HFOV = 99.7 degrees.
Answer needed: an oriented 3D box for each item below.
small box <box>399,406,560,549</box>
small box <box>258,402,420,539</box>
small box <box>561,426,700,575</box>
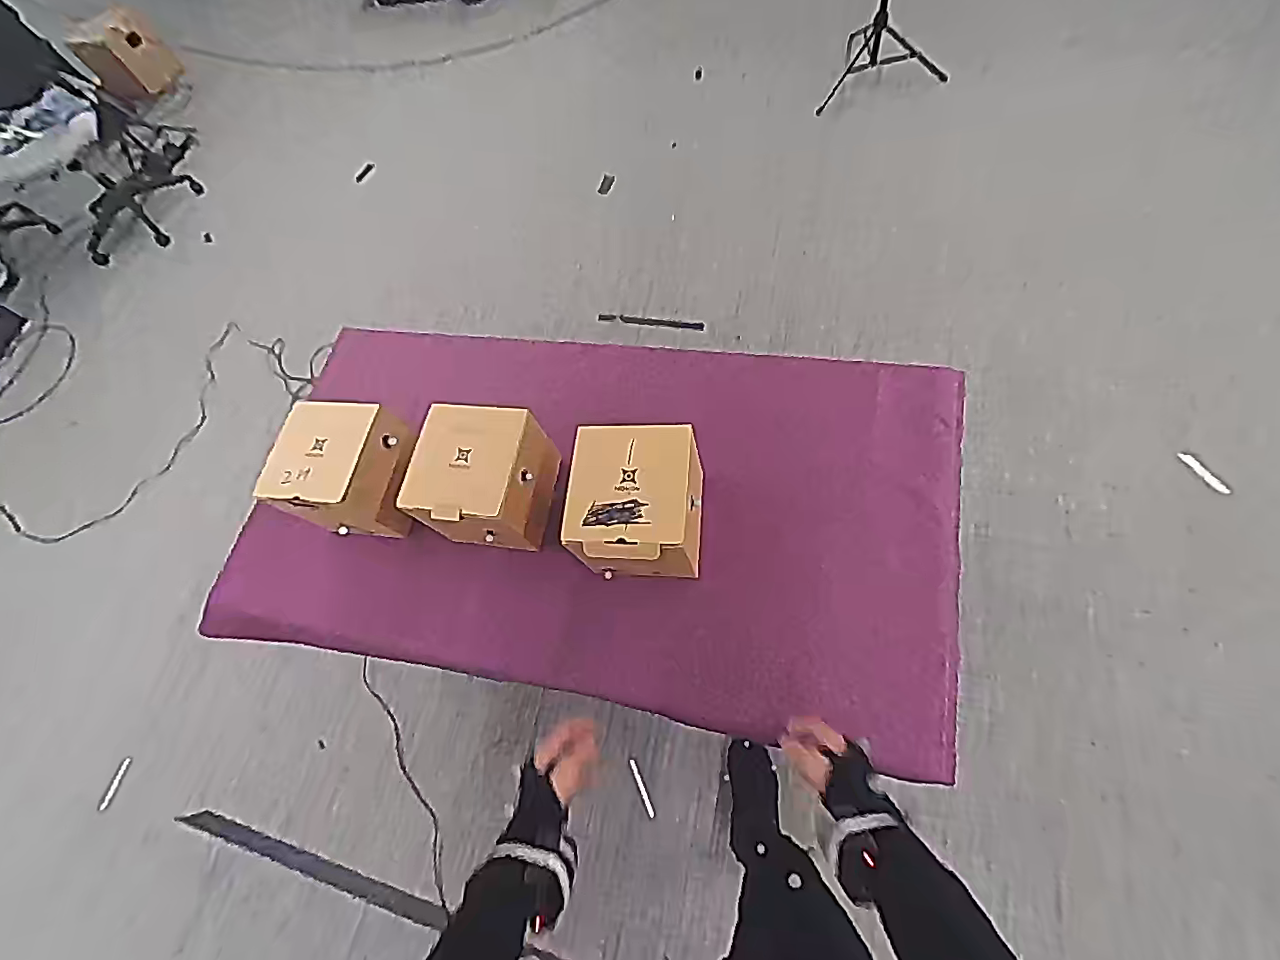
[{"bbox_3d":[-0.243,0.001,0.867,0.168,0.176,0.179,6,67,14],"label":"small box"},{"bbox_3d":[-0.487,-0.014,0.923,0.168,0.176,0.179,4,67,14],"label":"small box"},{"bbox_3d":[-0.002,0.037,0.798,0.168,0.176,0.179,0,66,12],"label":"small box"}]
